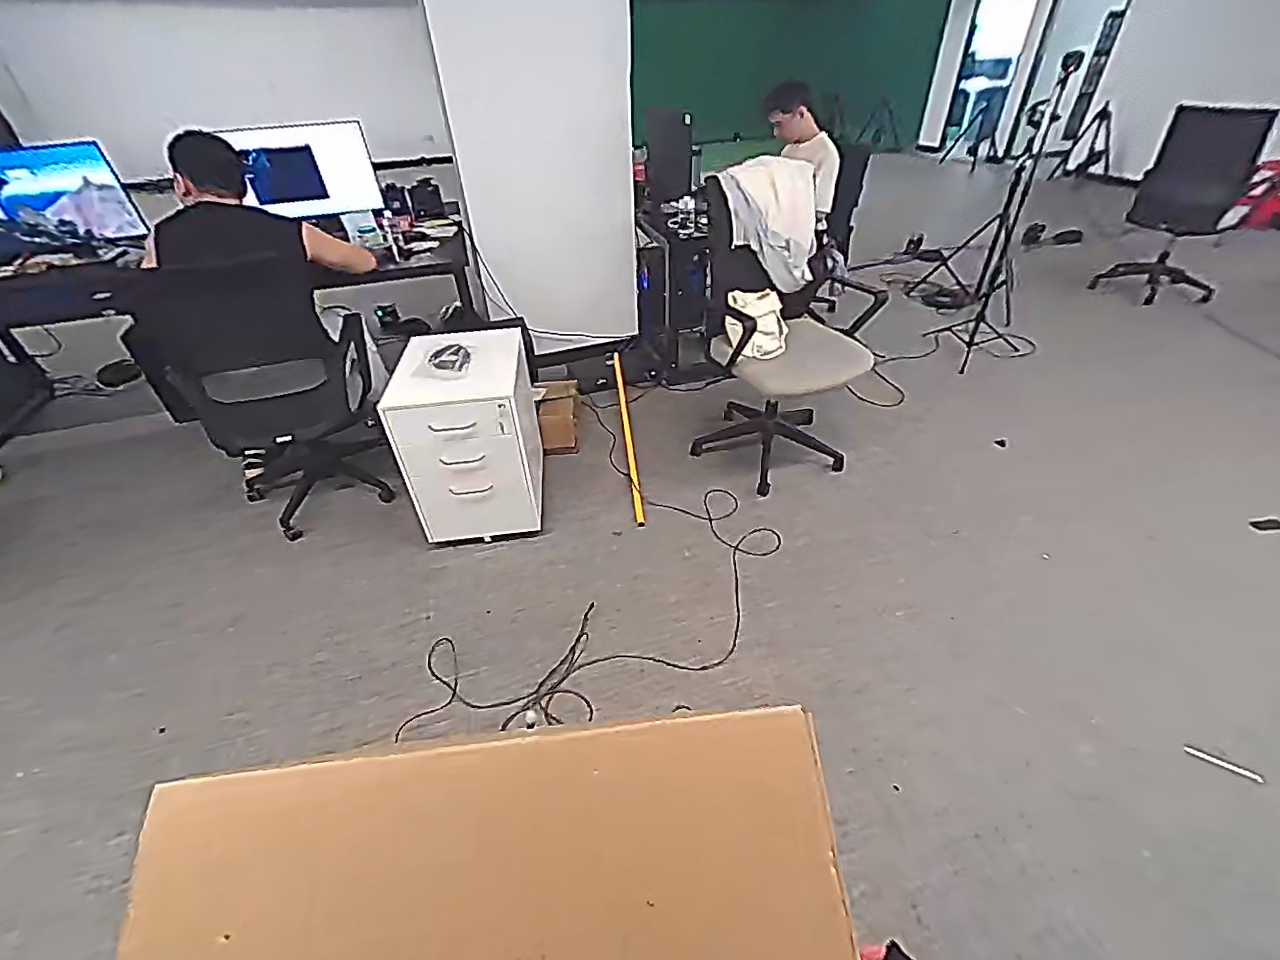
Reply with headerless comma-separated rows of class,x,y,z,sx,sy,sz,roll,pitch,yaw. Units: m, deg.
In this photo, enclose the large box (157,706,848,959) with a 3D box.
large box,-0.075,0.376,0.436,0.408,0.320,0.320,-5,68,-5
